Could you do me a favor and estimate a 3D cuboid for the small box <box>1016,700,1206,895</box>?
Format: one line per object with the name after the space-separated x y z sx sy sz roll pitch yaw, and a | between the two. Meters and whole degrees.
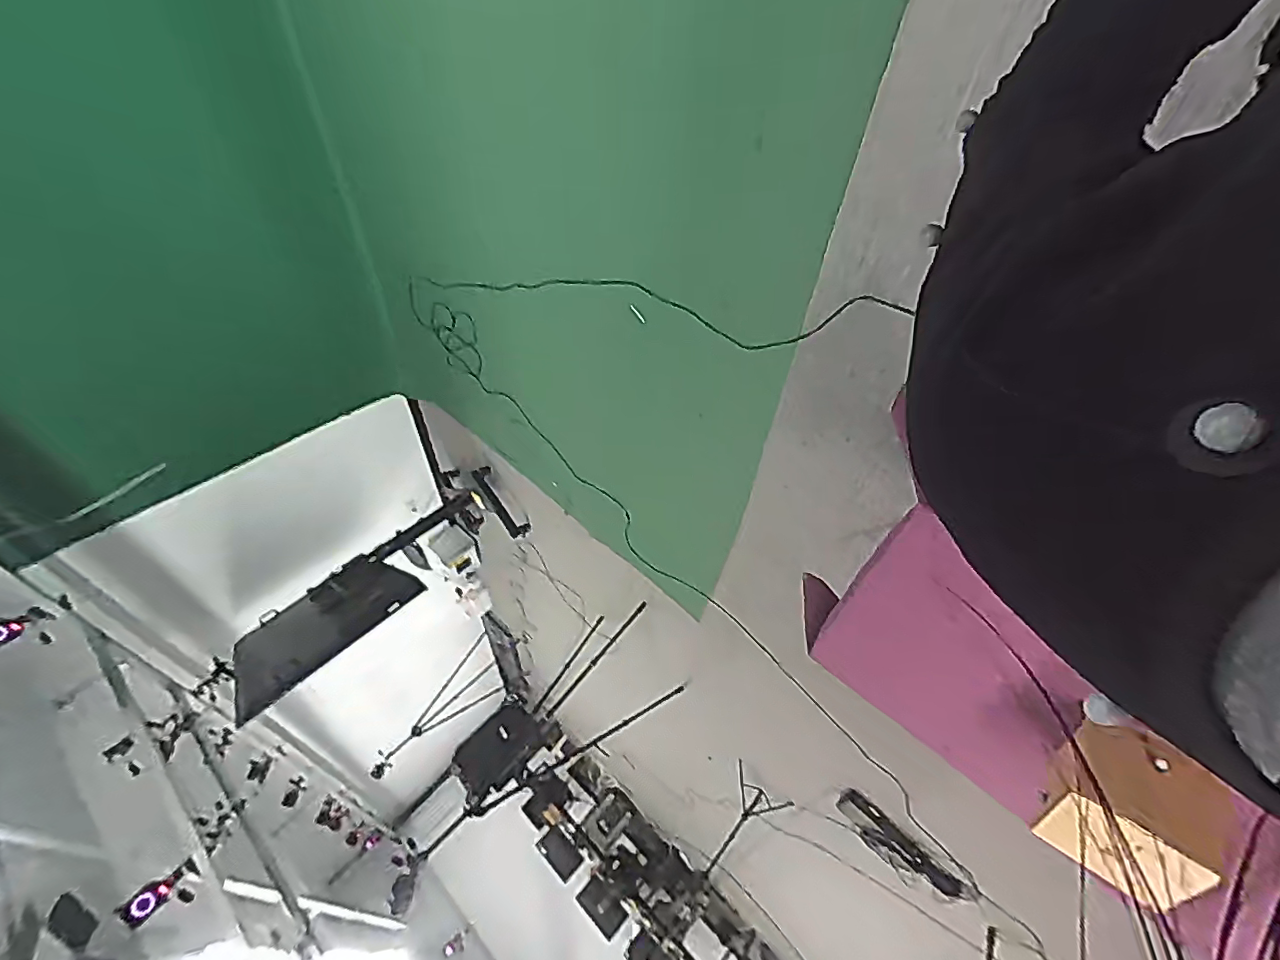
0.734 0.490 0.847 0.168 0.176 0.179 27 141 34 | small box
